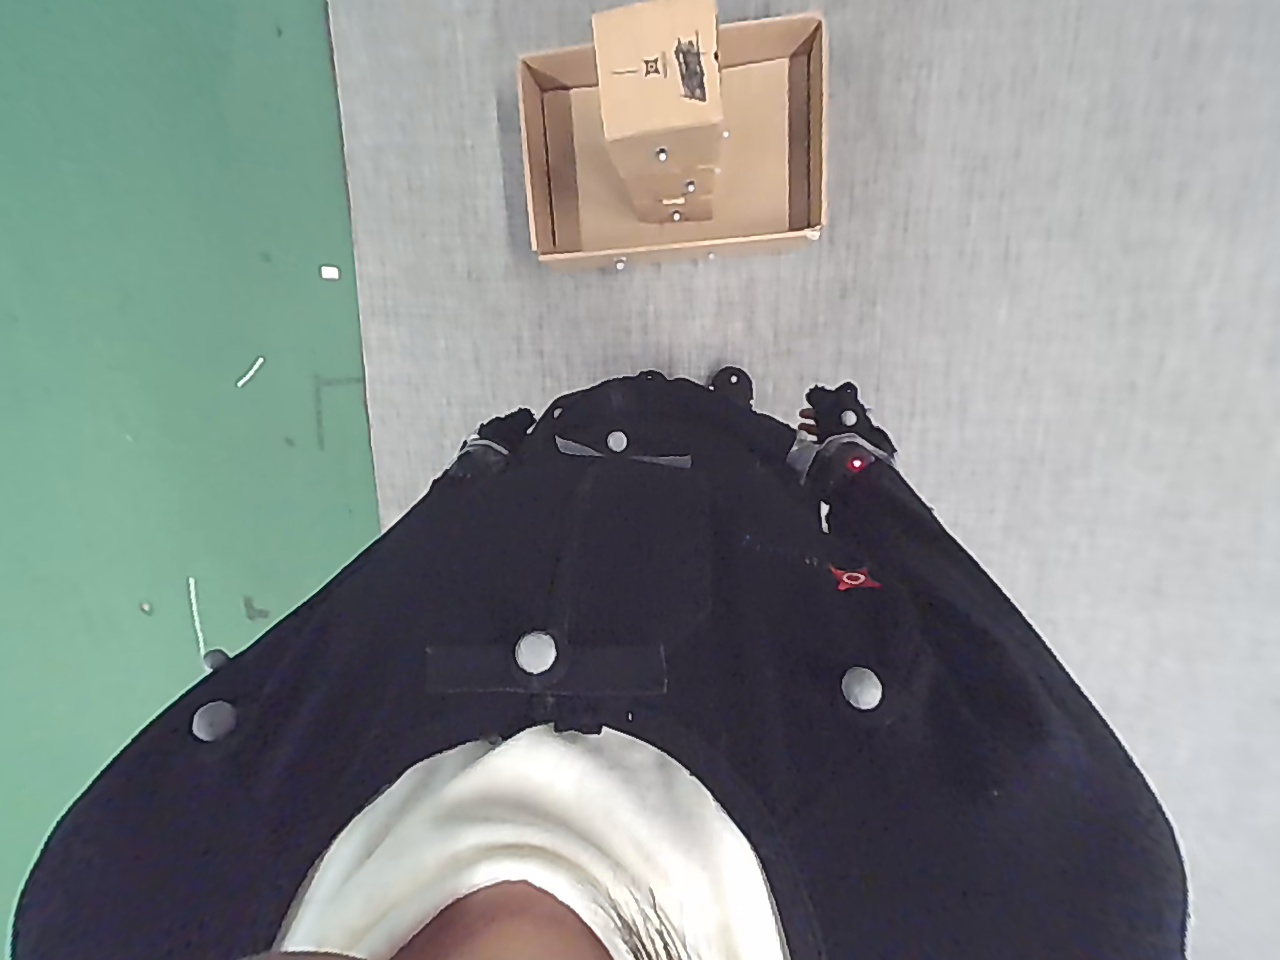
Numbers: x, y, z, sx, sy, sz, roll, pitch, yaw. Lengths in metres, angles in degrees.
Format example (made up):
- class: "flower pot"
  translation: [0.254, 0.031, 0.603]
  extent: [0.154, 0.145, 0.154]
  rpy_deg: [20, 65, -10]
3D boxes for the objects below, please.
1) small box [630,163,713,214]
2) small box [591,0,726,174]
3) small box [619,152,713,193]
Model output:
- class: "small box"
  translation: [0.072, -0.679, 1.158]
  extent: [0.168, 0.176, 0.179]
  rpy_deg: [1, 102, 7]
- class: "small box"
  translation: [0.033, -0.604, 0.843]
  extent: [0.179, 0.176, 0.168]
  rpy_deg: [-7, 102, 8]
- class: "small box"
  translation: [0.052, -0.647, 1.001]
  extent: [0.168, 0.176, 0.179]
  rpy_deg: [0, 101, 7]
